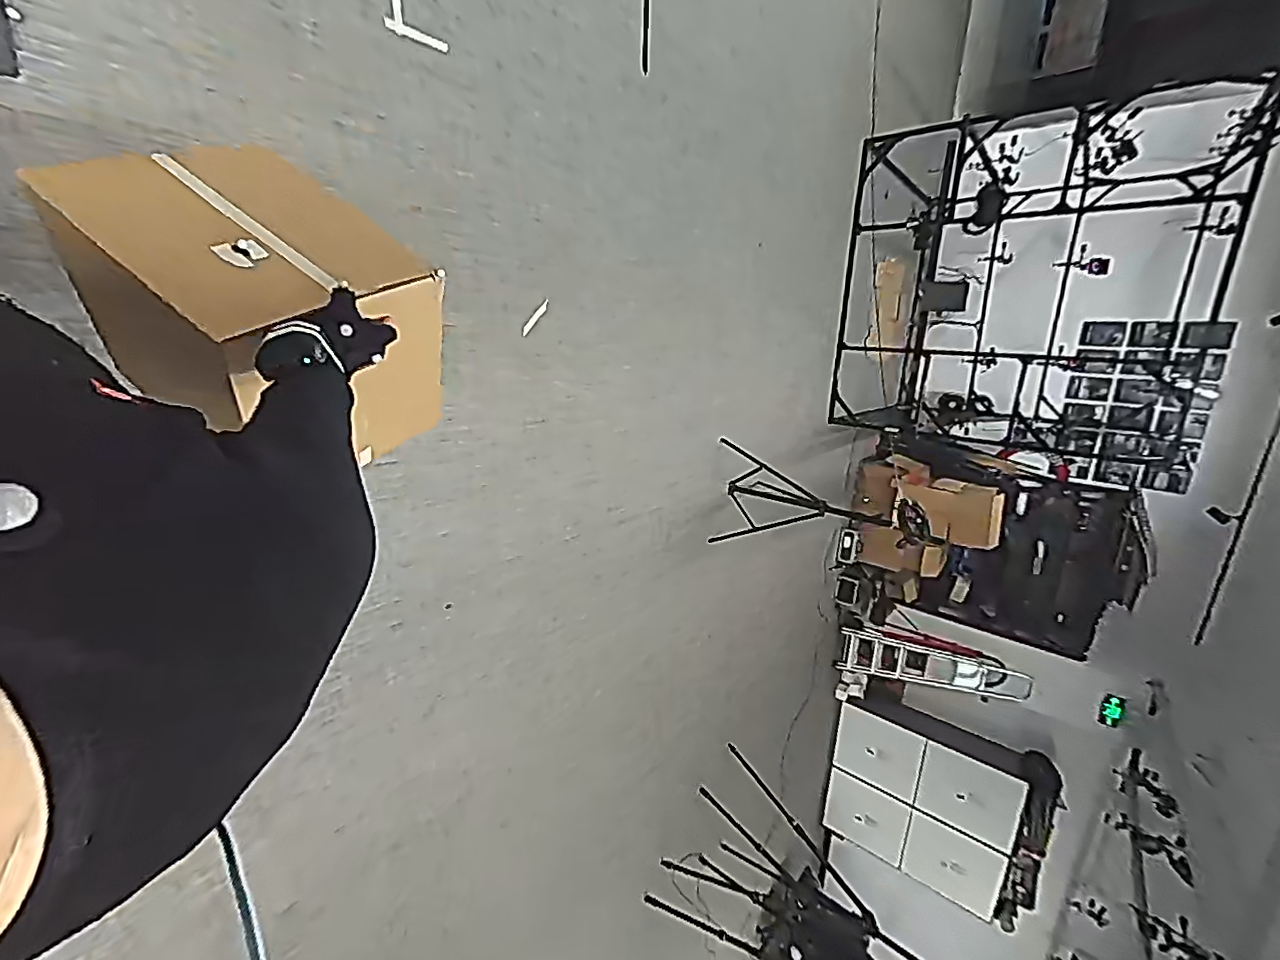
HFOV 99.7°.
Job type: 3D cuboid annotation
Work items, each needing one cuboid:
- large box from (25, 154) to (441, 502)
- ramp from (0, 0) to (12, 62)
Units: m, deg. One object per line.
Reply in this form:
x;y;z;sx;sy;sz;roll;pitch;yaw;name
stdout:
-0.578;-0.245;0.841;0.320;0.408;0.320;-43;165;-42;large box
-1.138;-1.117;0.564;0.509;0.206;0.991;-19;116;-49;ramp
